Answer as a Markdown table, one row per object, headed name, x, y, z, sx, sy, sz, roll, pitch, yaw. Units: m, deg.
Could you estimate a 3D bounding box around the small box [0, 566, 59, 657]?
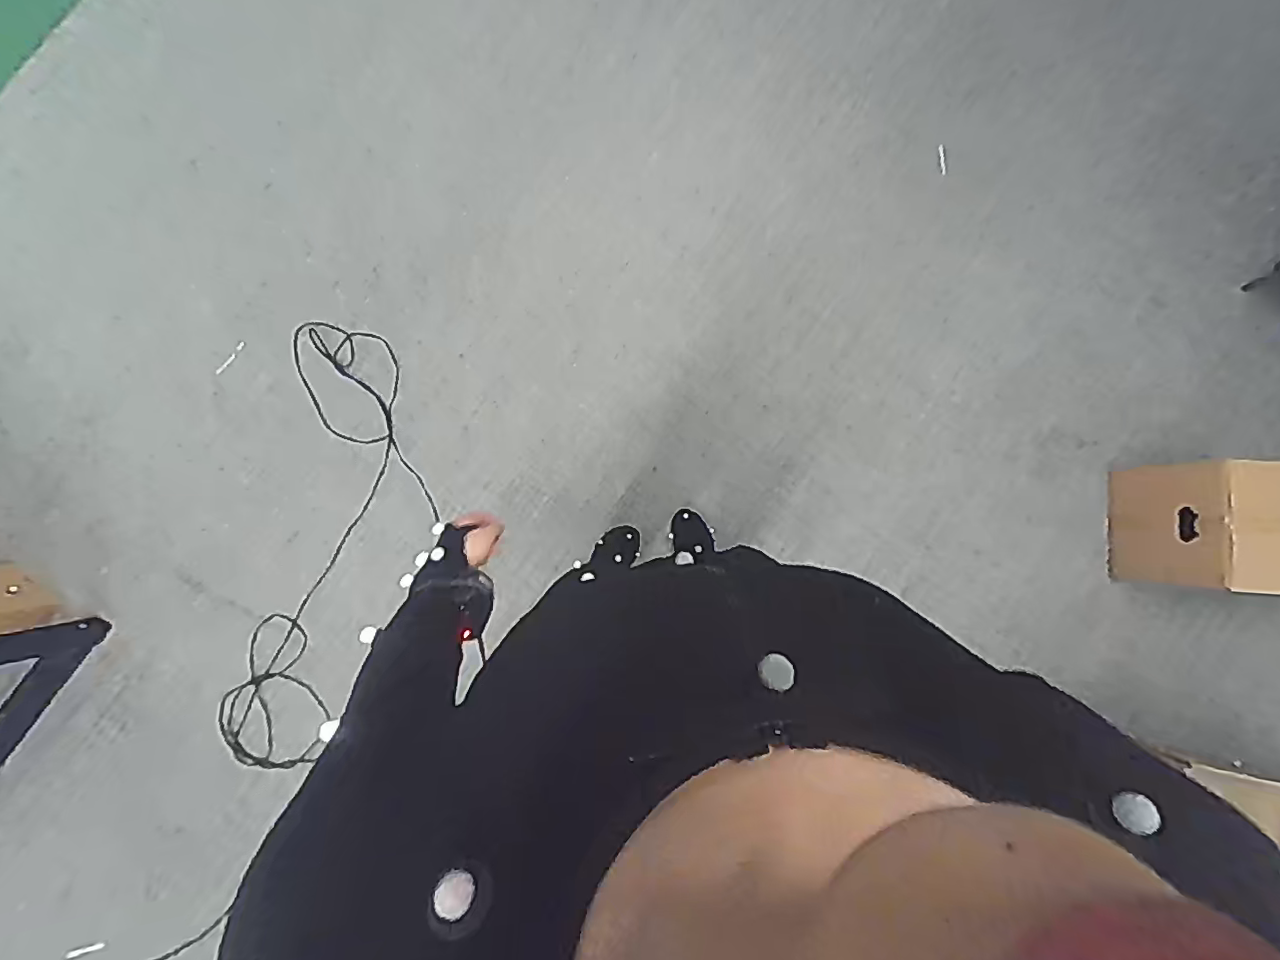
| name | x | y | z | sx | sy | sz | roll | pitch | yaw |
| --- | --- | --- | --- | --- | --- | --- | --- | --- | --- |
| small box | -1.617 | 0.330 | 1.335 | 0.168 | 0.176 | 0.179 | 39 | 85 | 1 |
